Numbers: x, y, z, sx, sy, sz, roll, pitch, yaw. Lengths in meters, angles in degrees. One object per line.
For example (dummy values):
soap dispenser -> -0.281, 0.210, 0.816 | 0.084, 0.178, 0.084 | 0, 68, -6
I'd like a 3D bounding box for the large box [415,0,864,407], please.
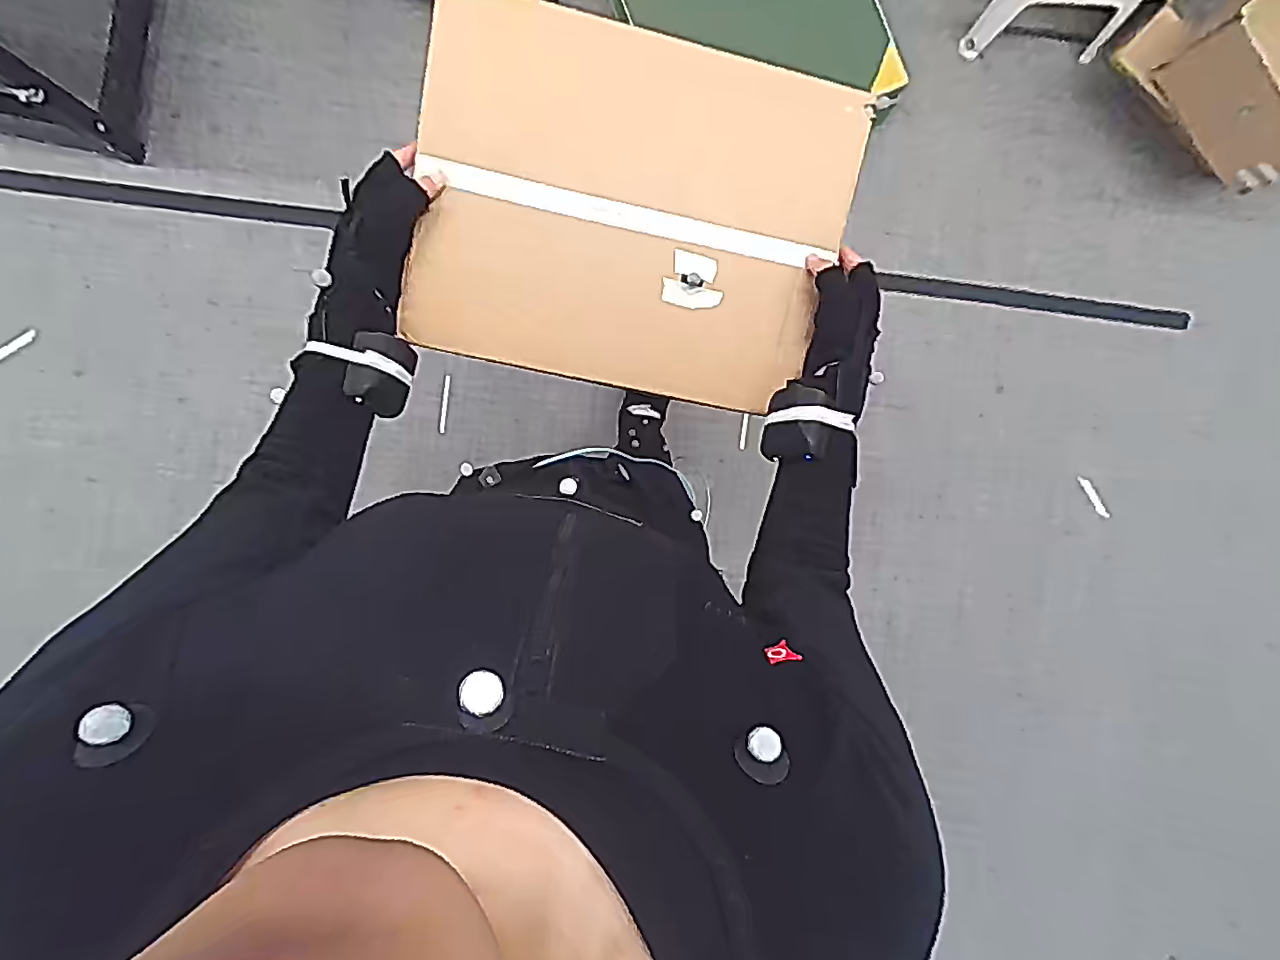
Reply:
large box -> -0.016, -0.284, 0.674 | 0.408, 0.320, 0.320 | 11, 100, -7
